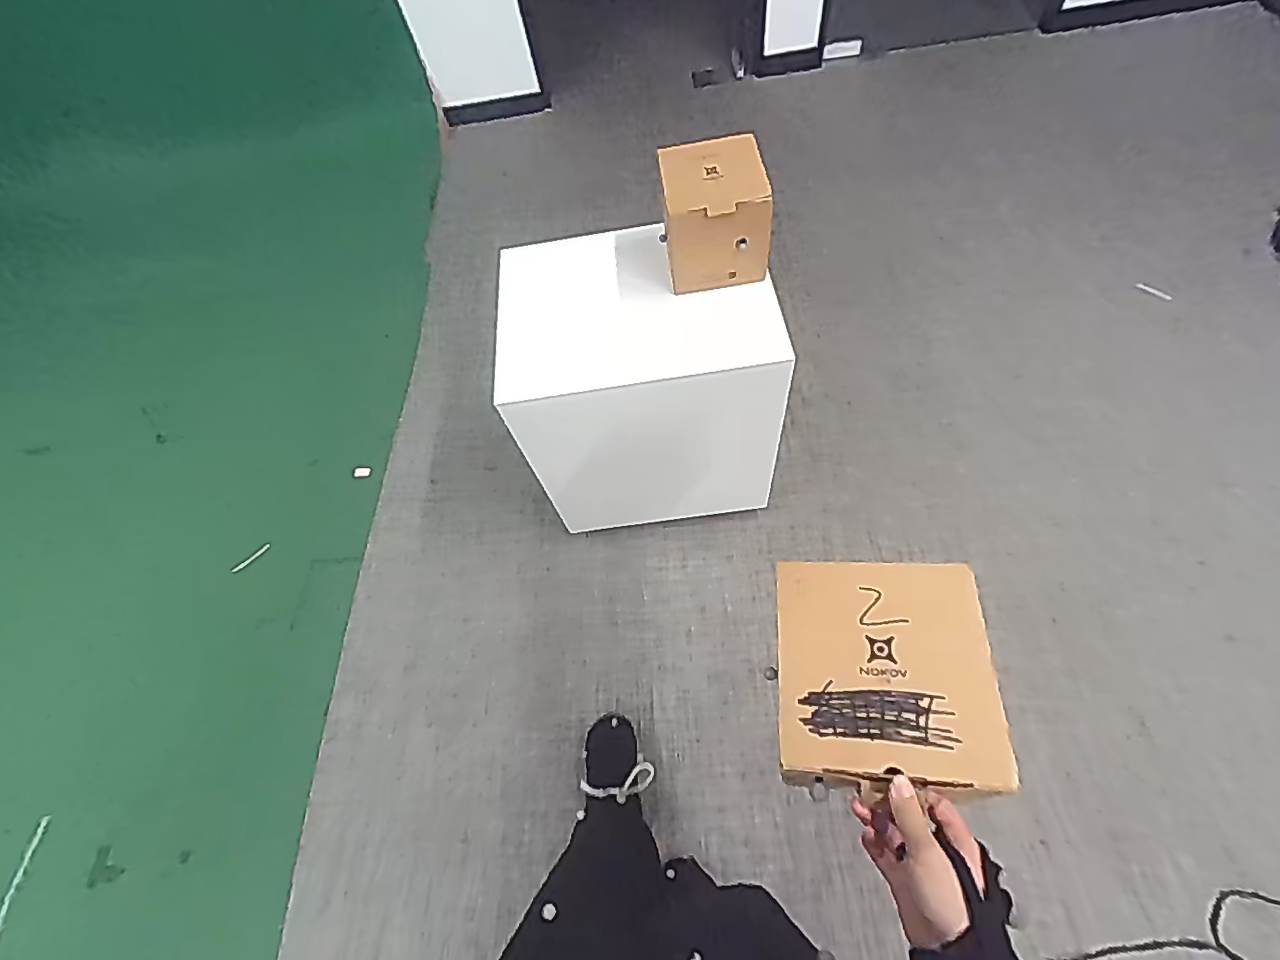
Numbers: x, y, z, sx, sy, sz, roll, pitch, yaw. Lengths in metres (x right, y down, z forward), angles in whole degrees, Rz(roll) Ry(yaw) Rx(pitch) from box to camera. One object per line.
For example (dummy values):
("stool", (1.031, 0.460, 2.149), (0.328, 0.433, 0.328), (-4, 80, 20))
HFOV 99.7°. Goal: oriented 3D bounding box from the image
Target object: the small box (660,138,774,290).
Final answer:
("small box", (0.131, -0.453, 0.943), (0.168, 0.176, 0.179), (-7, 60, 3))
